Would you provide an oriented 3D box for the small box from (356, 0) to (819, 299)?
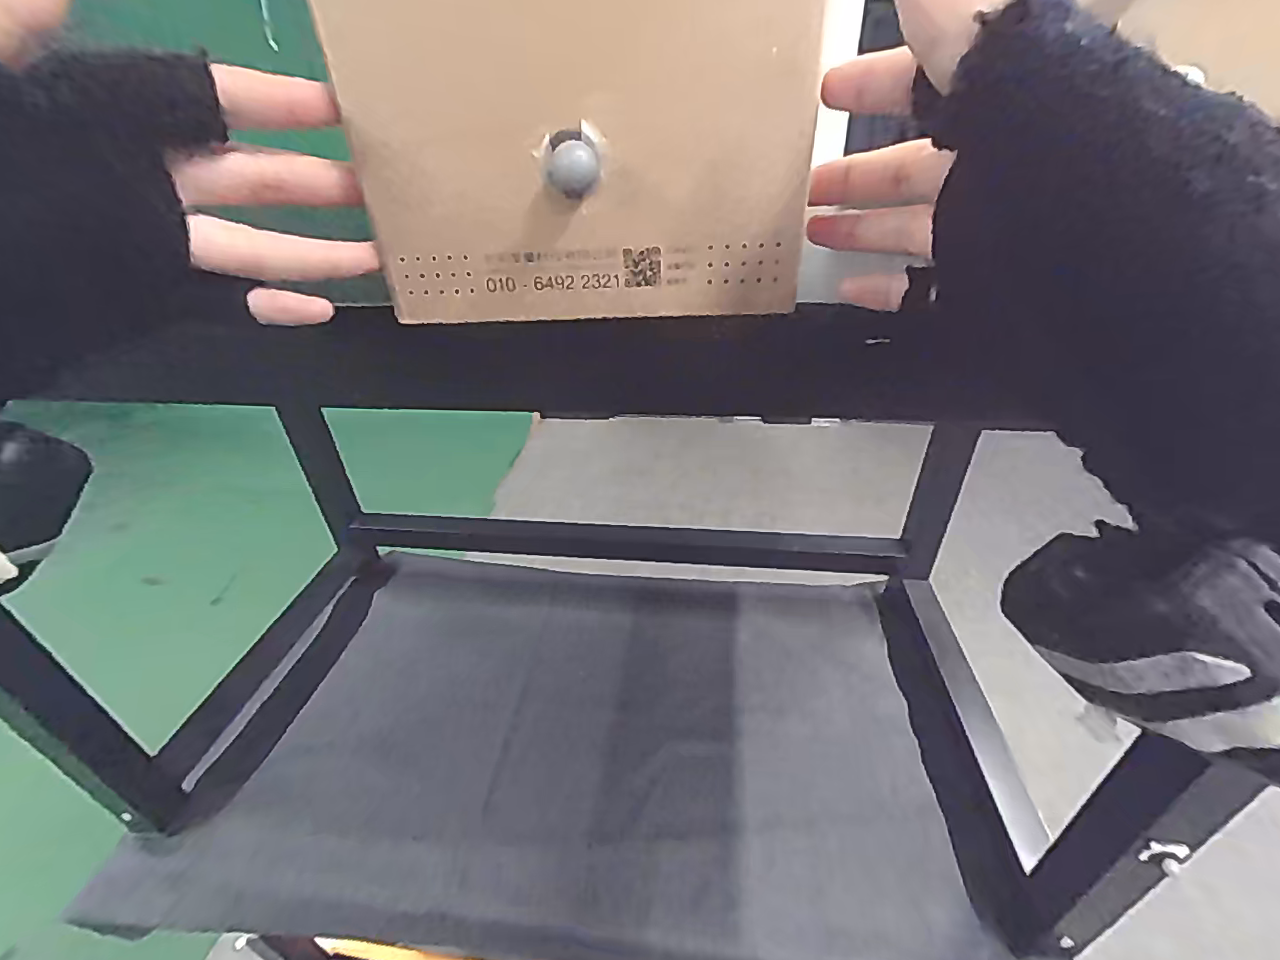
[{"bbox_3d":[-0.018,-0.191,0.258,0.168,0.176,0.179,-2,32,4],"label":"small box"}]
